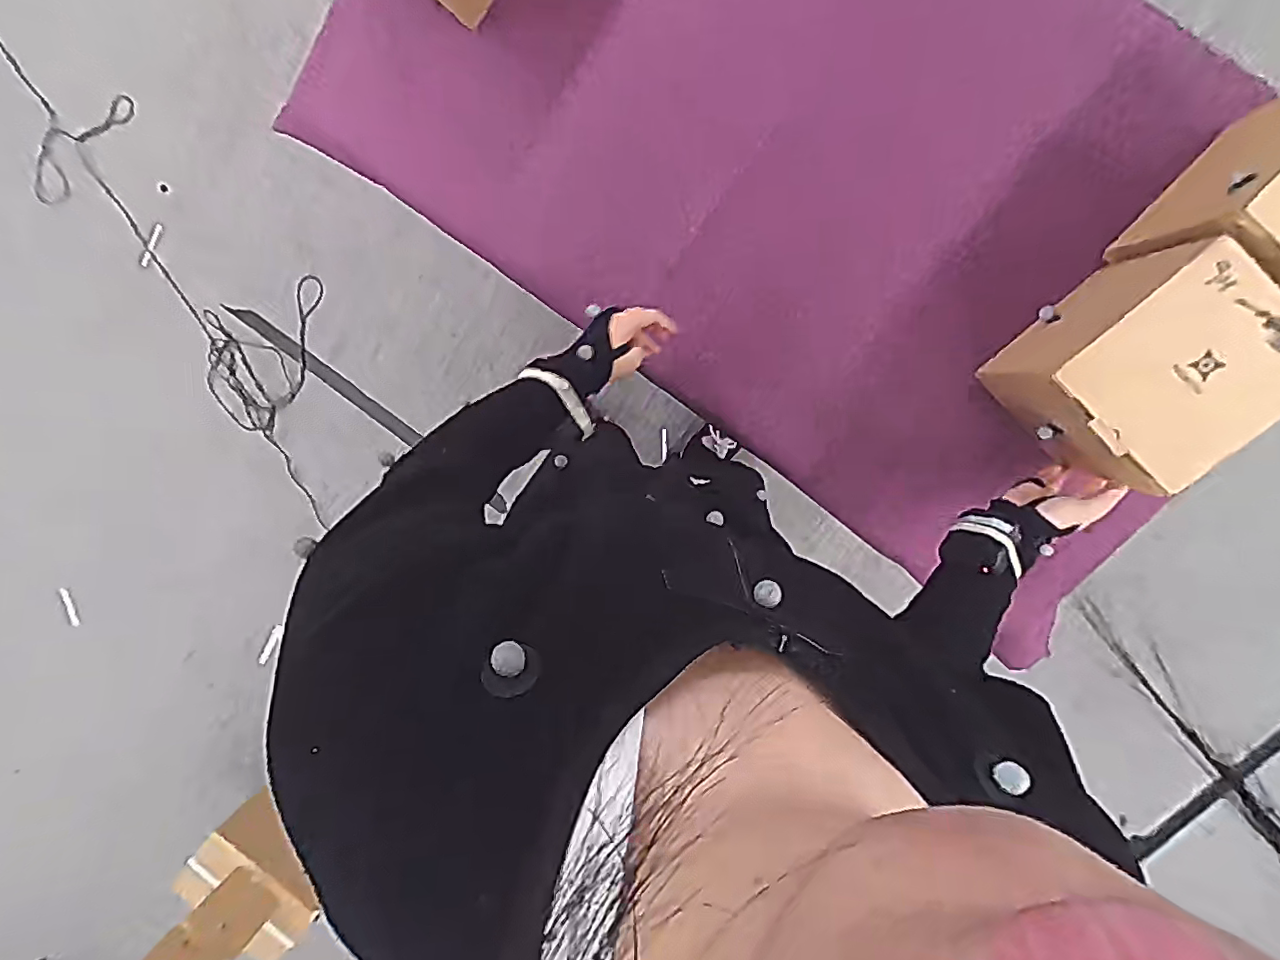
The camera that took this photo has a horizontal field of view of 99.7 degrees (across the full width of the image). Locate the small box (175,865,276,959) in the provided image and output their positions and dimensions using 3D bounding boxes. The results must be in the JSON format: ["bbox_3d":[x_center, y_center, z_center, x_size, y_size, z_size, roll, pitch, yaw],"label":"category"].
[{"bbox_3d":[-1.205,1.267,1.553,0.179,0.176,0.168,44,103,-1],"label":"small box"}]

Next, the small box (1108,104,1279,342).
[{"bbox_3d":[0.634,-0.257,0.529,0.168,0.176,0.179,40,103,-2],"label":"small box"}]

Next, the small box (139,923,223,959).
[{"bbox_3d":[-1.233,1.313,1.399,0.168,0.176,0.179,29,105,3],"label":"small box"}]
